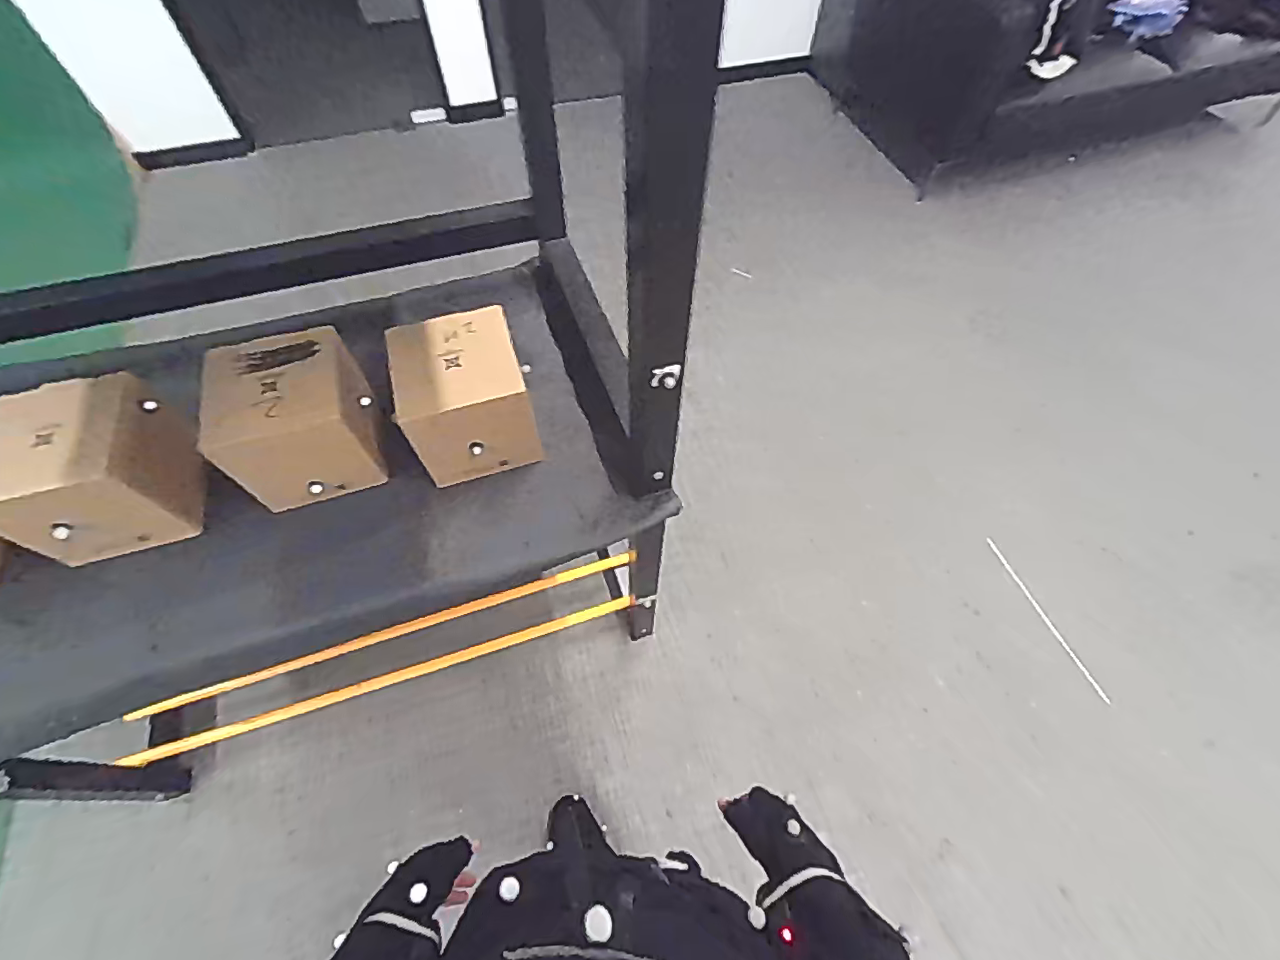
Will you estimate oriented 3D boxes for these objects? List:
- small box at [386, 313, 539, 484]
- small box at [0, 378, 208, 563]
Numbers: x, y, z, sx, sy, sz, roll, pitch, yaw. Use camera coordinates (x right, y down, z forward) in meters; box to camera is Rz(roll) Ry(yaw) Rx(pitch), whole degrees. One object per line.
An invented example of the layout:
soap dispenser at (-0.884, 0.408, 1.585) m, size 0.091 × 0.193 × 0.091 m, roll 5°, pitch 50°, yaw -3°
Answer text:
small box at (-0.257, -0.111, 0.804) m, size 0.168 × 0.176 × 0.179 m, roll -16°, pitch 60°, yaw -11°
small box at (-0.729, -0.004, 0.732) m, size 0.168 × 0.176 × 0.179 m, roll -15°, pitch 60°, yaw -10°
